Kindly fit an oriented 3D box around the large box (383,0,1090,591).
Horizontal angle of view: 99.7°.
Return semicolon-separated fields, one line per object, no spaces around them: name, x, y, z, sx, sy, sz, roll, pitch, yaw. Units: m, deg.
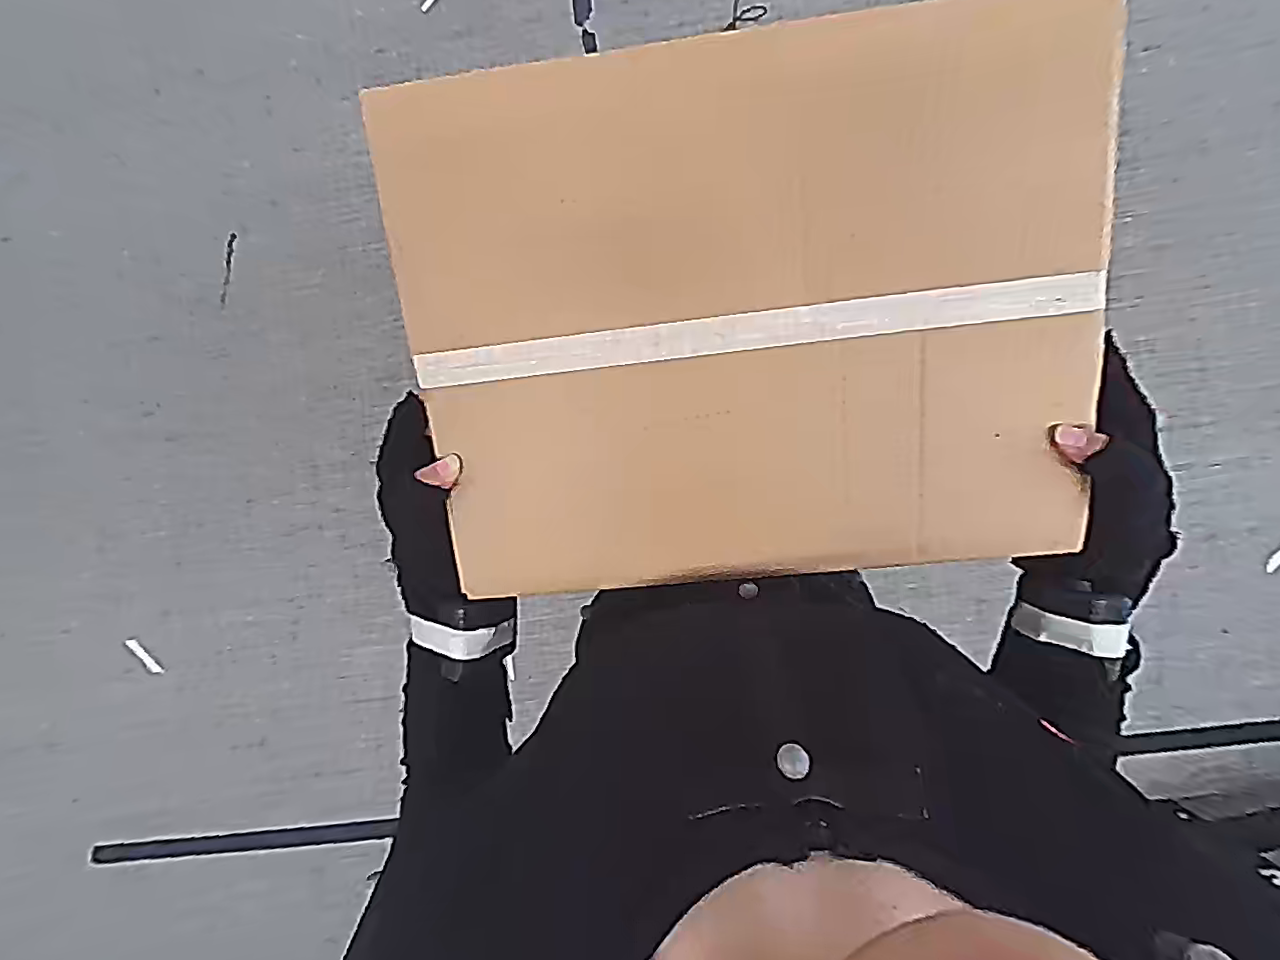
large box;0.067;-0.122;0.479;0.408;0.320;0.320;-5;104;4
